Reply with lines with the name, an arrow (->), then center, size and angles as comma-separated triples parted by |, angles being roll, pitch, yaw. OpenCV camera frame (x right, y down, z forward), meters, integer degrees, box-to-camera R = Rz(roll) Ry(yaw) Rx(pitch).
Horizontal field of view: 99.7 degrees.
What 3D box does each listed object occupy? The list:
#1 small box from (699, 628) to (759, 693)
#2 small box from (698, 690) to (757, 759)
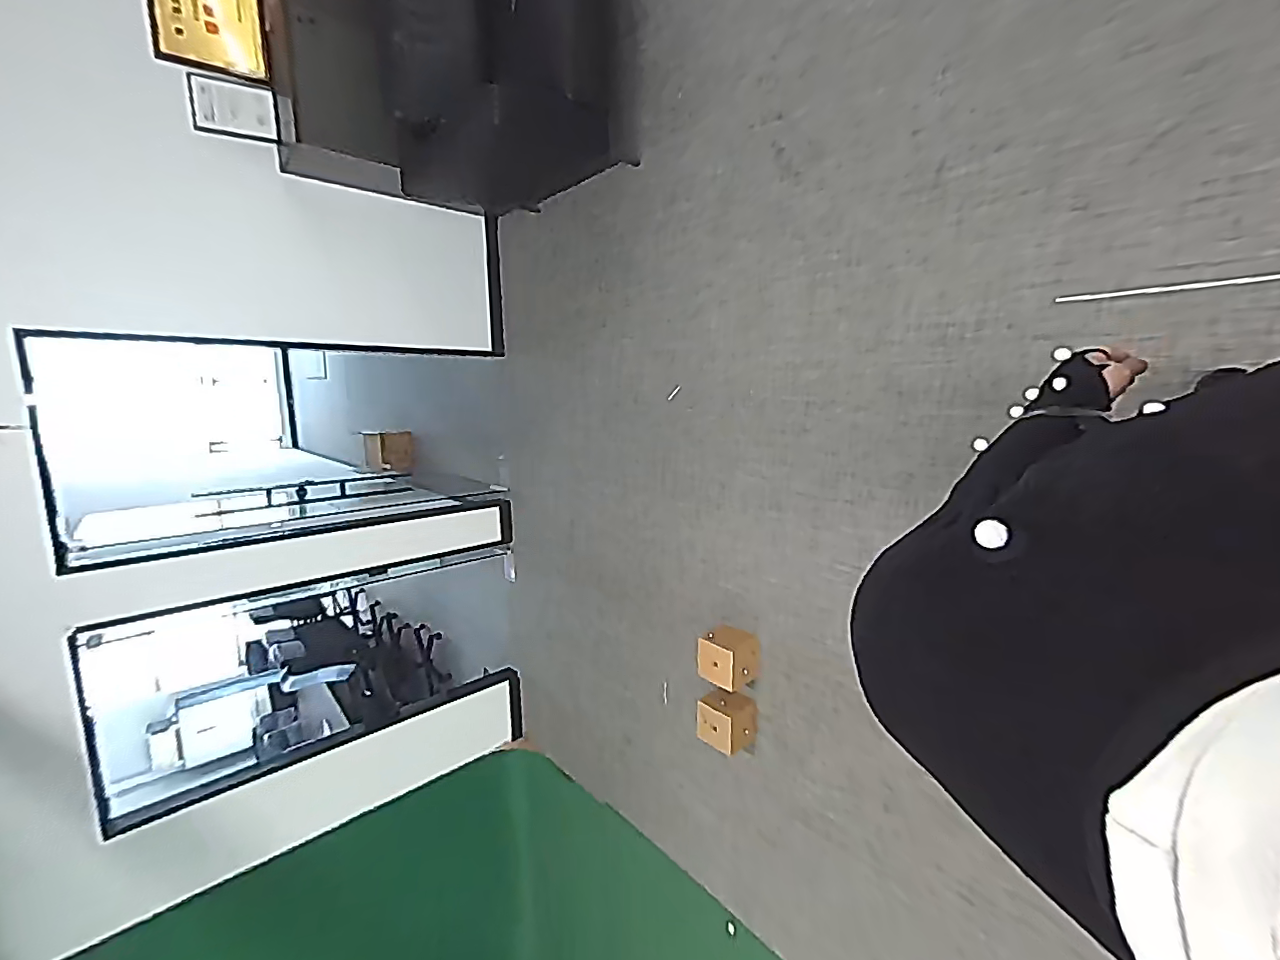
small box -> 0.353, 0.704, 2.132 | 0.179, 0.176, 0.168 | 9, 104, 48
small box -> 0.354, 0.970, 2.169 | 0.179, 0.176, 0.168 | 10, 103, 47
